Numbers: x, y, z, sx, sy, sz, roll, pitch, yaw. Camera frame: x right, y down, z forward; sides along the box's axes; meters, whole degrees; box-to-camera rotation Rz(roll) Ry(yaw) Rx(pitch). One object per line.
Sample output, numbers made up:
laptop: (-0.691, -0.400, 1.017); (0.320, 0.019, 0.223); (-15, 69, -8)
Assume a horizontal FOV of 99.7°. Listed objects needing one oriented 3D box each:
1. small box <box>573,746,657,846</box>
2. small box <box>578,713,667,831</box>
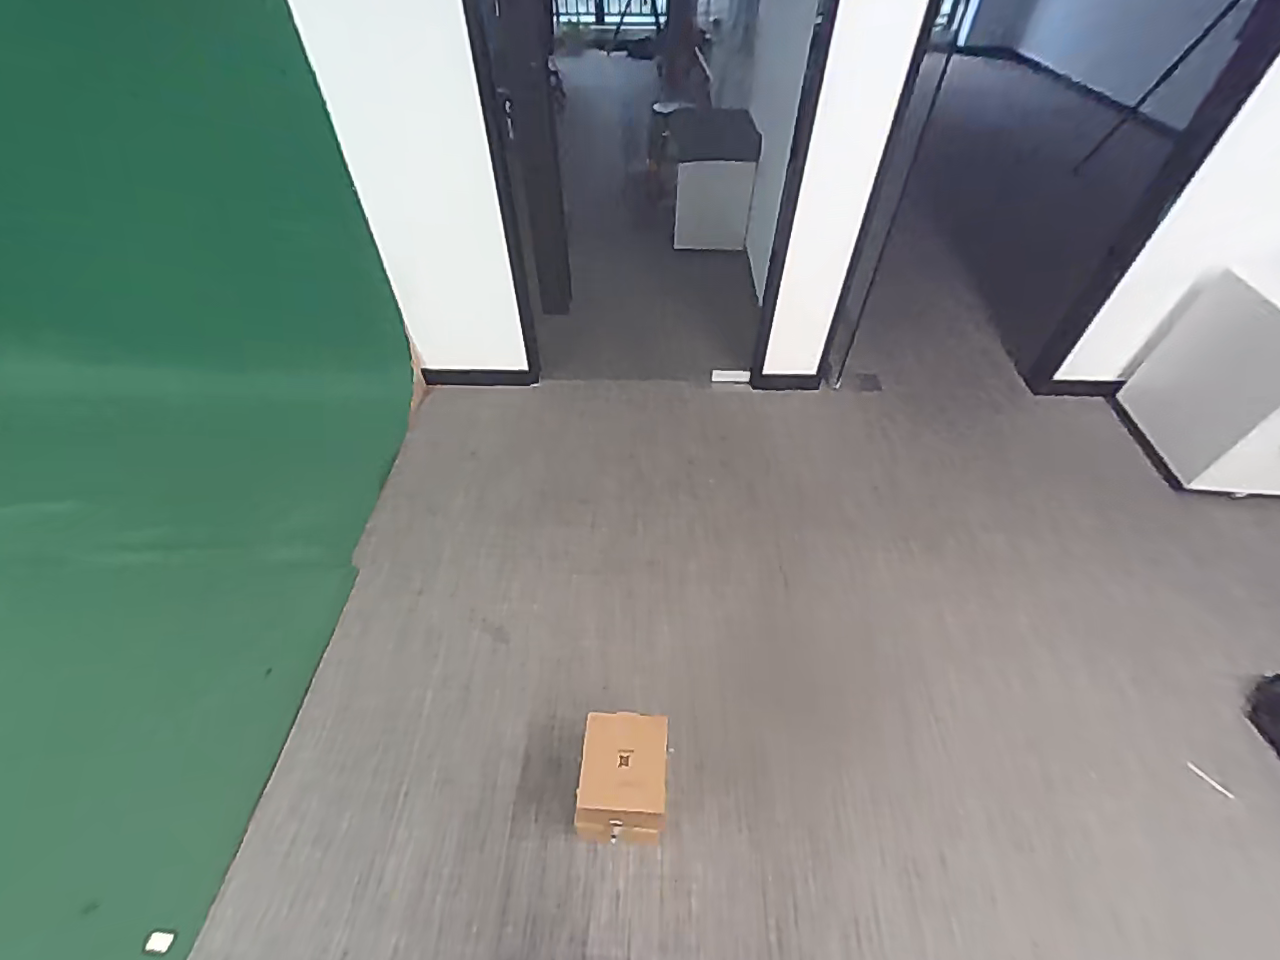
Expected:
small box: (-0.046, 0.715, 1.225); (0.179, 0.176, 0.168); (2, 47, 3)
small box: (-0.030, 0.601, 1.112); (0.168, 0.176, 0.179); (1, 48, 3)
